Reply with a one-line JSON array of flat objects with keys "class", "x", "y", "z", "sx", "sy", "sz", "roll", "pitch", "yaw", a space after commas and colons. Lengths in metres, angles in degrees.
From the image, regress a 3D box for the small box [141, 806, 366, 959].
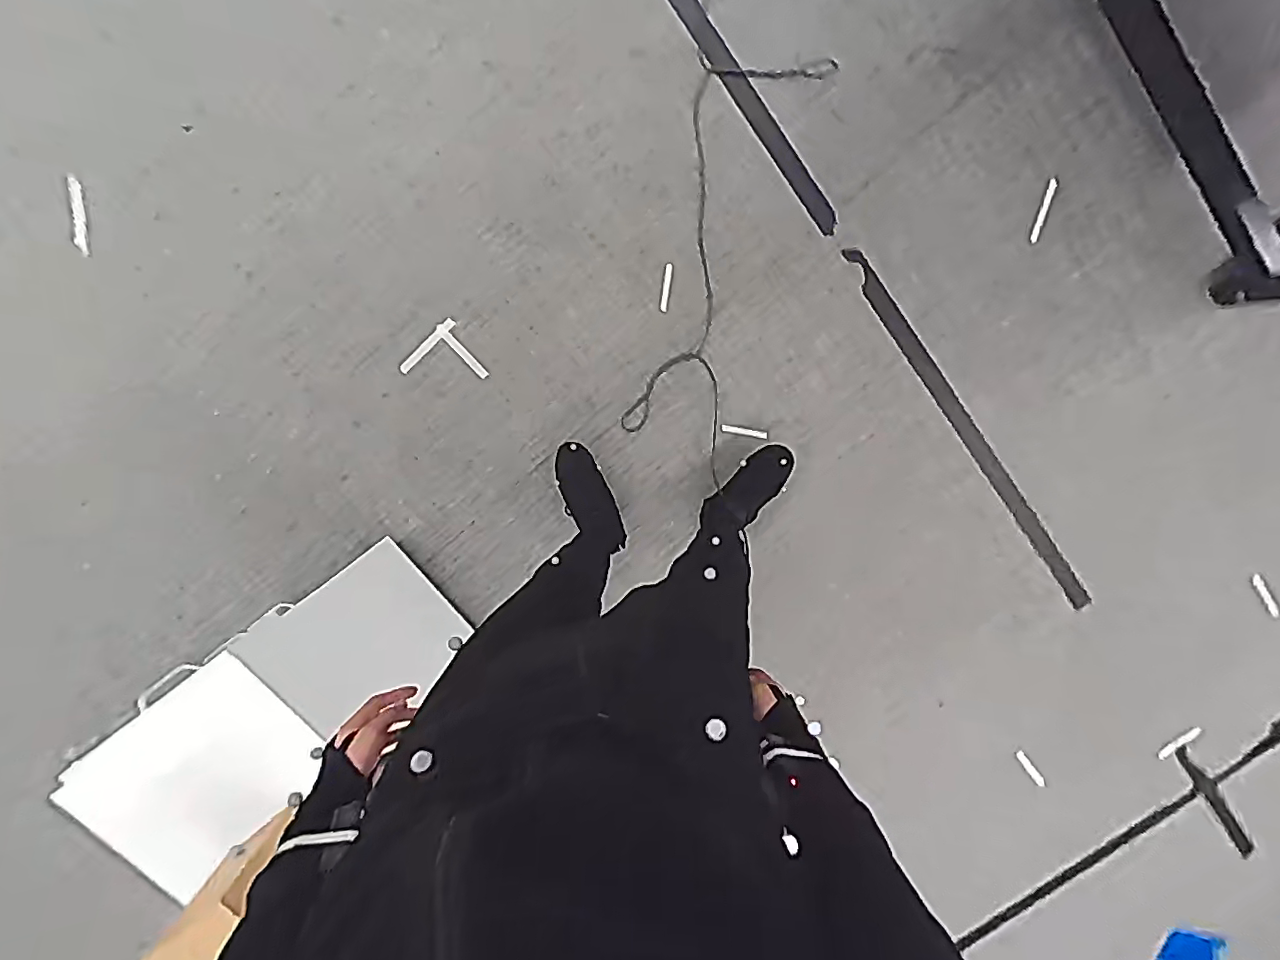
[{"class": "small box", "x": -0.556, "y": 0.642, "z": 0.808, "sx": 0.168, "sy": 0.176, "sz": 0.179, "roll": -39, "pitch": 100, "yaw": 6}]
